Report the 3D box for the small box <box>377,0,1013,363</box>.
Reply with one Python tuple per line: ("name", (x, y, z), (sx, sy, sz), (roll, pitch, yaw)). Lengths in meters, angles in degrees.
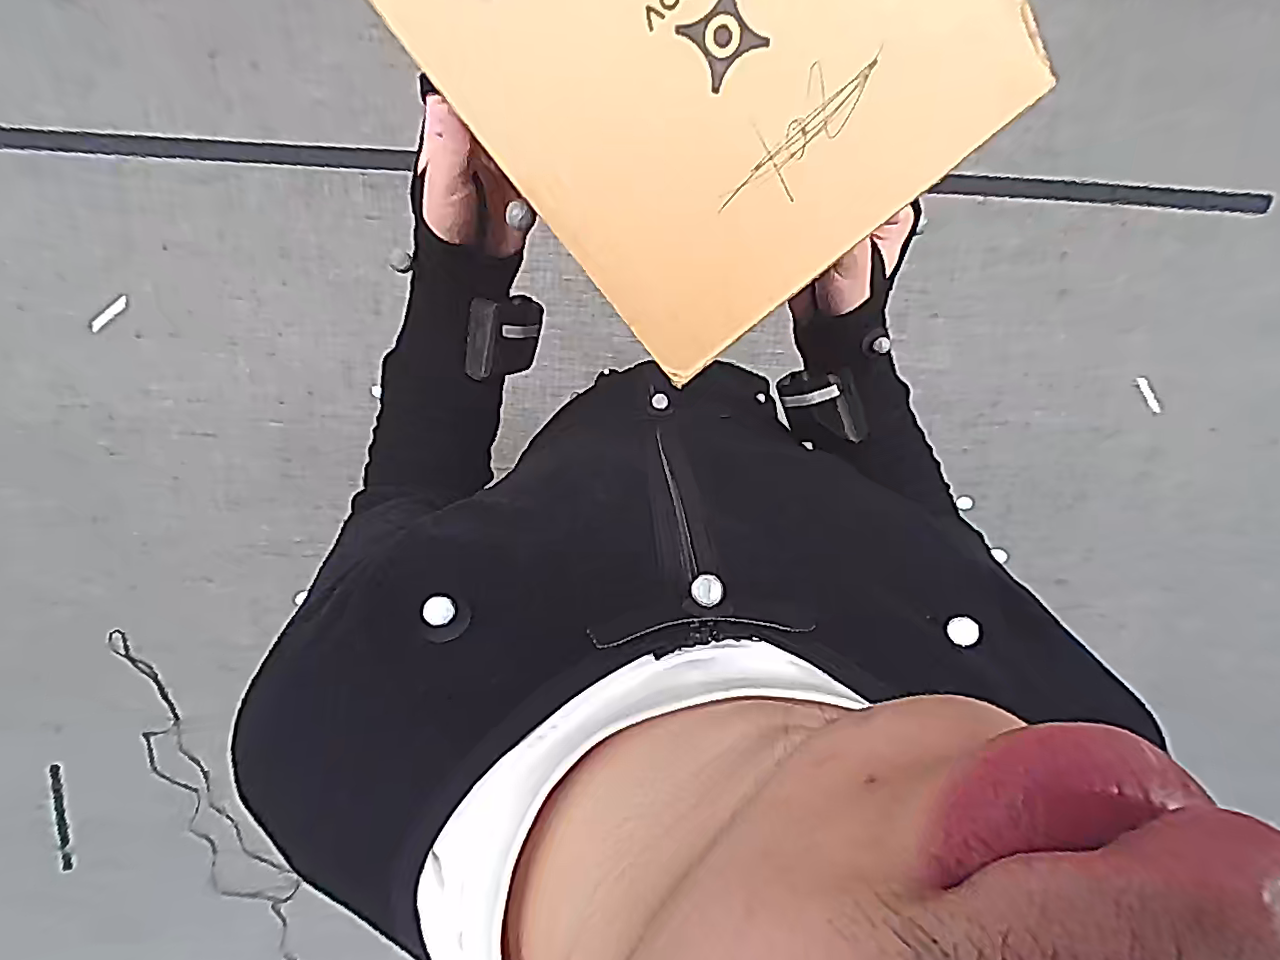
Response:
("small box", (0.018, -0.187, 0.261), (0.168, 0.176, 0.179), (-37, 111, 14))
